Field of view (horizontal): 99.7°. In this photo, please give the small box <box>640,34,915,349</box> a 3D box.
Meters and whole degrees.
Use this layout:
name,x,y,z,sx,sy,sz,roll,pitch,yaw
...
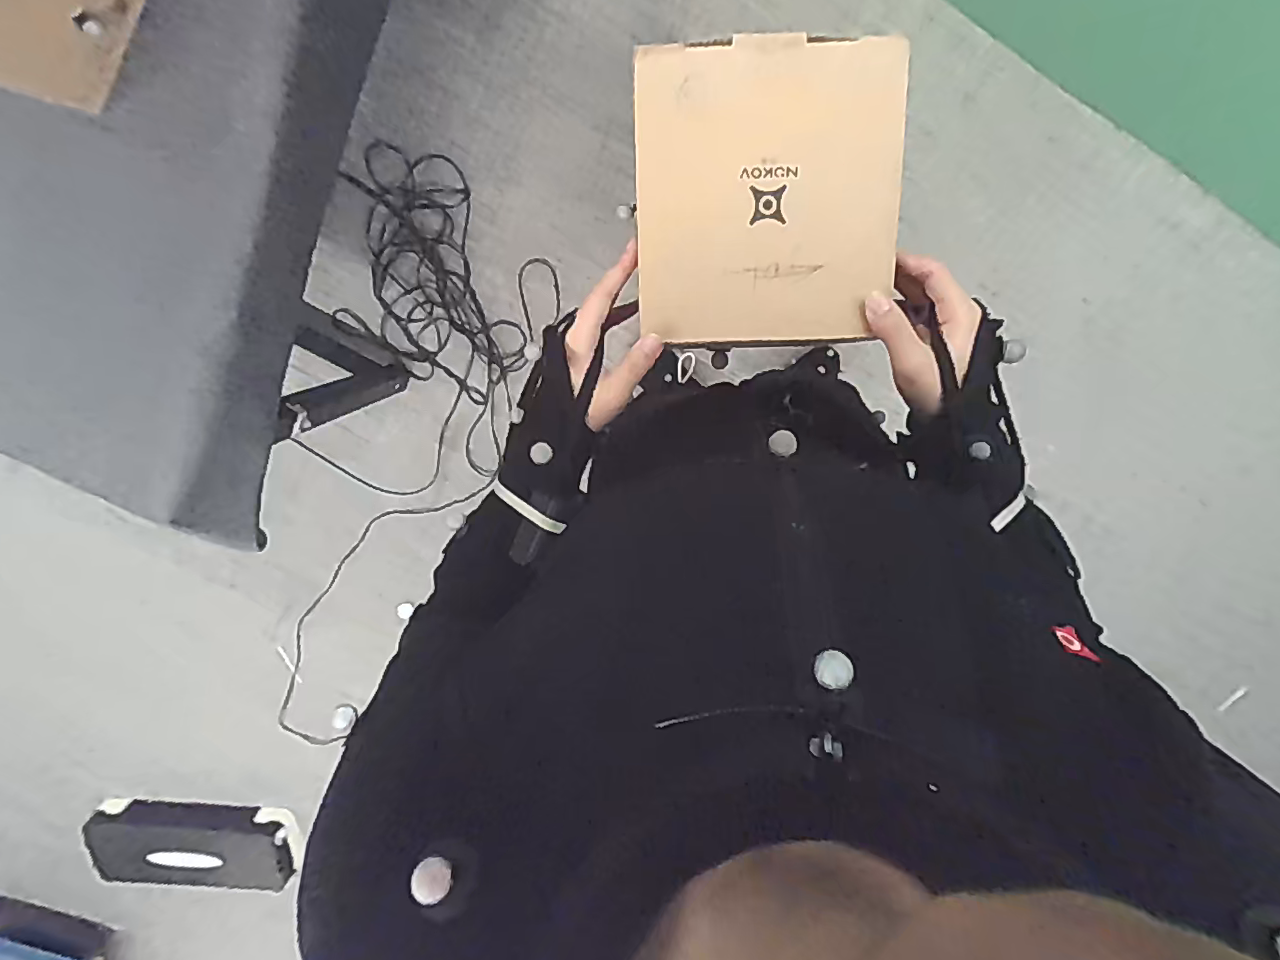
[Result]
name,x,y,z,sx,sy,sz,roll,pitch,yaw
small box,0.083,-0.194,0.415,0.168,0.176,0.179,-1,102,1
